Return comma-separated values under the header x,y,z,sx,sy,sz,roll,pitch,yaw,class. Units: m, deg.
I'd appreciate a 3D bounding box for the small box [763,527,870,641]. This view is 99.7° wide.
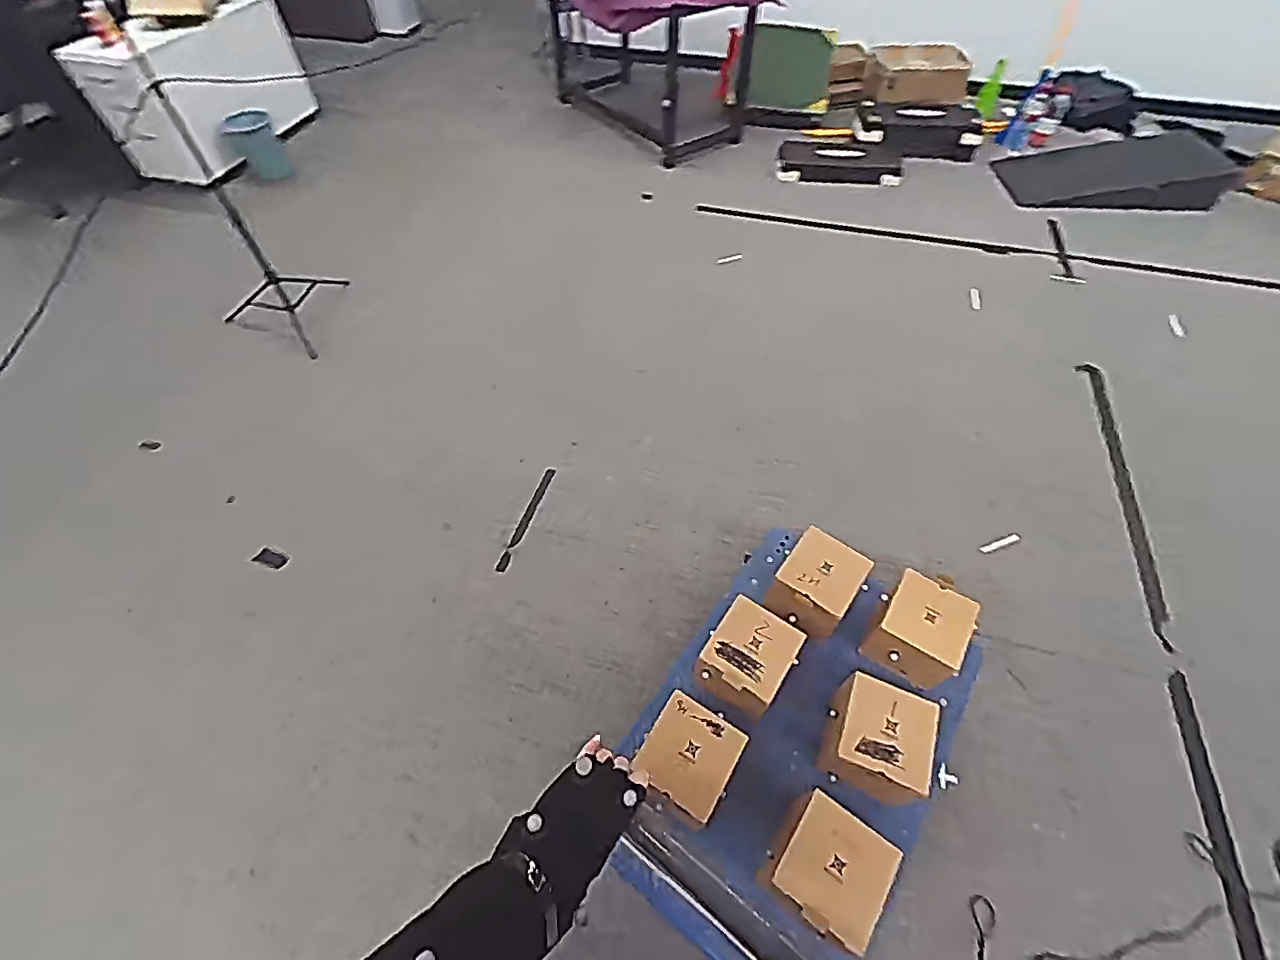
x,y,z,sx,sy,sz,roll,pitch,yaw,class
0.416,0.254,1.303,0.168,0.176,0.179,33,62,21,small box

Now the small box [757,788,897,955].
x,y,z,sx,sy,sz,roll,pitch,yaw,class
0.328,0.704,0.983,0.168,0.176,0.179,32,60,21,small box

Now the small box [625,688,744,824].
x,y,z,sx,sy,sz,roll,pitch,yaw,class
0.087,0.559,1.084,0.168,0.176,0.179,29,60,18,small box

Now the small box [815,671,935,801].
x,y,z,sx,sy,sz,roll,pitch,yaw,class
0.473,0.529,1.107,0.168,0.176,0.179,21,56,14,small box

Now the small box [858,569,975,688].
x,y,z,sx,sy,sz,roll,pitch,yaw,class
0.624,0.345,1.240,0.168,0.176,0.179,29,59,19,small box
